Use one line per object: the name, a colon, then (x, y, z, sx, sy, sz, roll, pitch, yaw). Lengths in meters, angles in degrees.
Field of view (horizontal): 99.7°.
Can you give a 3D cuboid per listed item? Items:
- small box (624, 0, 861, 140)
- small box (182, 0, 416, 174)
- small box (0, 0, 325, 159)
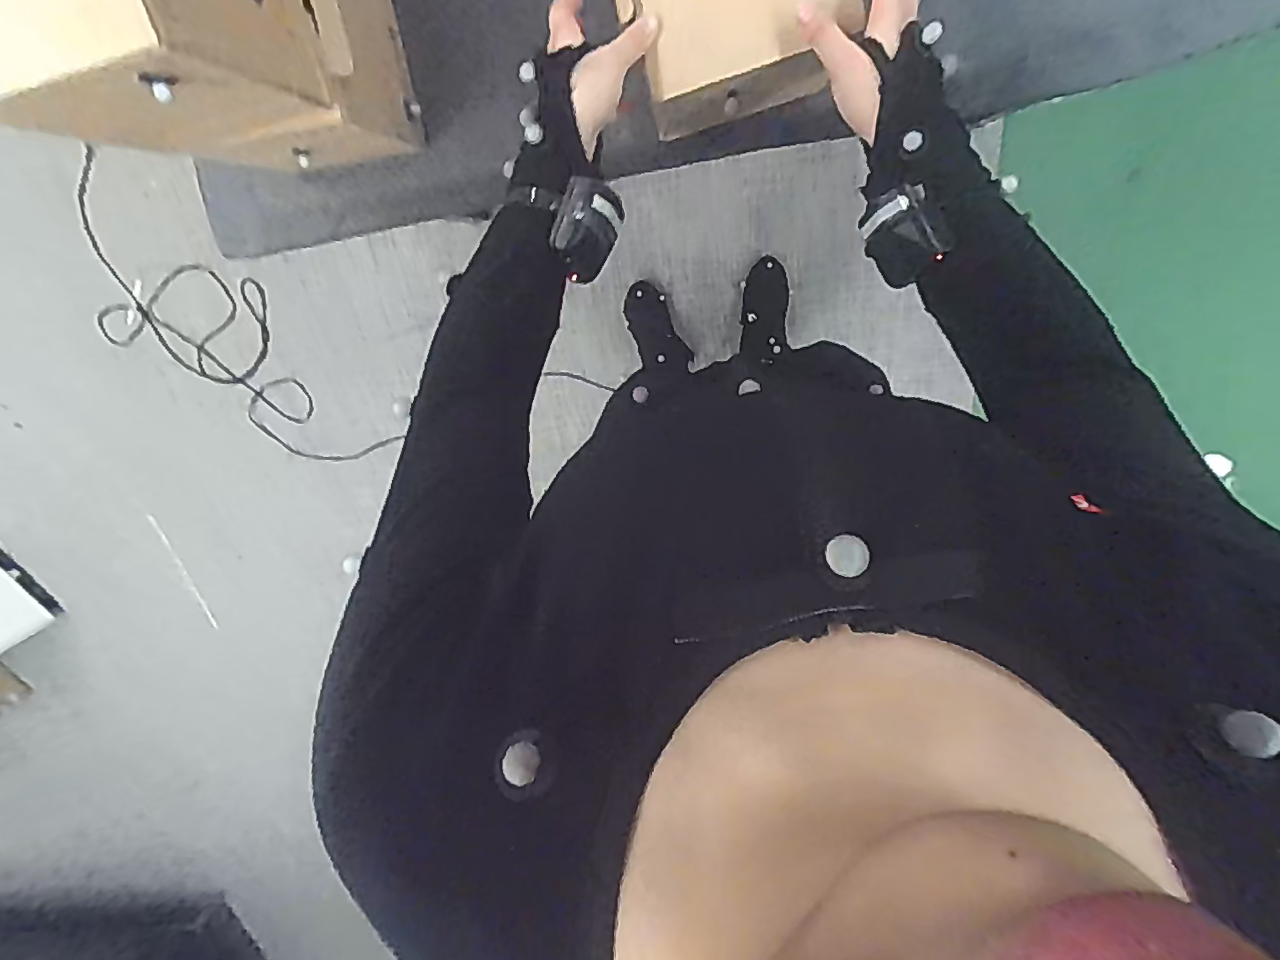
small box: (0.080, -0.430, 0.483, 0.179, 0.176, 0.168, -12, 111, 12)
small box: (-0.346, -0.412, 0.532, 0.179, 0.176, 0.168, -5, 113, 8)
small box: (-0.376, -0.349, 0.385, 0.179, 0.176, 0.168, -9, 112, 9)
